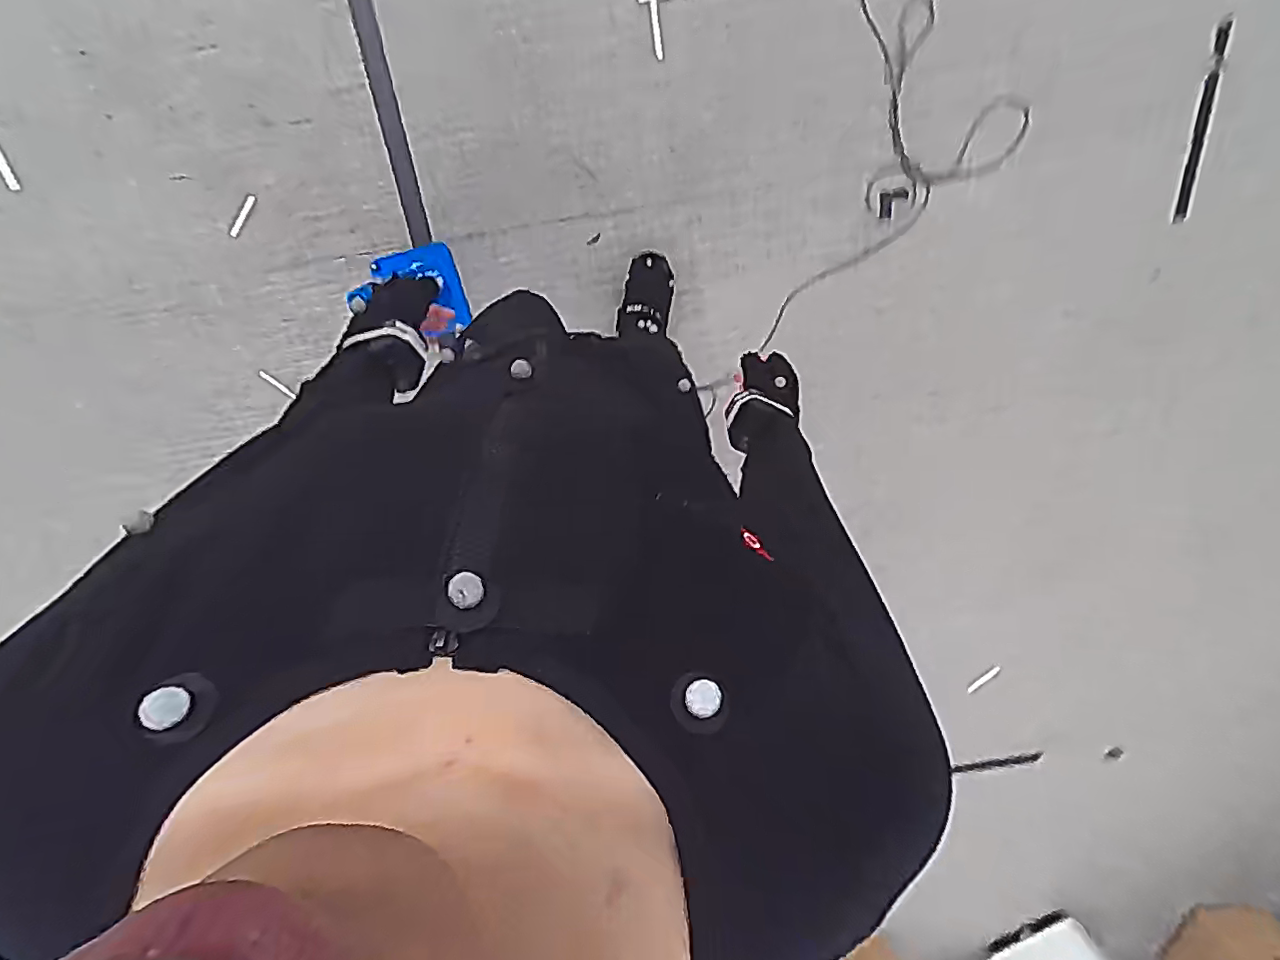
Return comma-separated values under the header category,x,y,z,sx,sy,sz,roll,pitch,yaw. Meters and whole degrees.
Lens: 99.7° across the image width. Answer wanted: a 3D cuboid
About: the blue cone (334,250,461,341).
category,x,y,z,sx,sy,sz,roll,pitch,yaw
blue cone,-0.538,-0.390,1.160,0.192,0.380,0.193,-11,111,2
